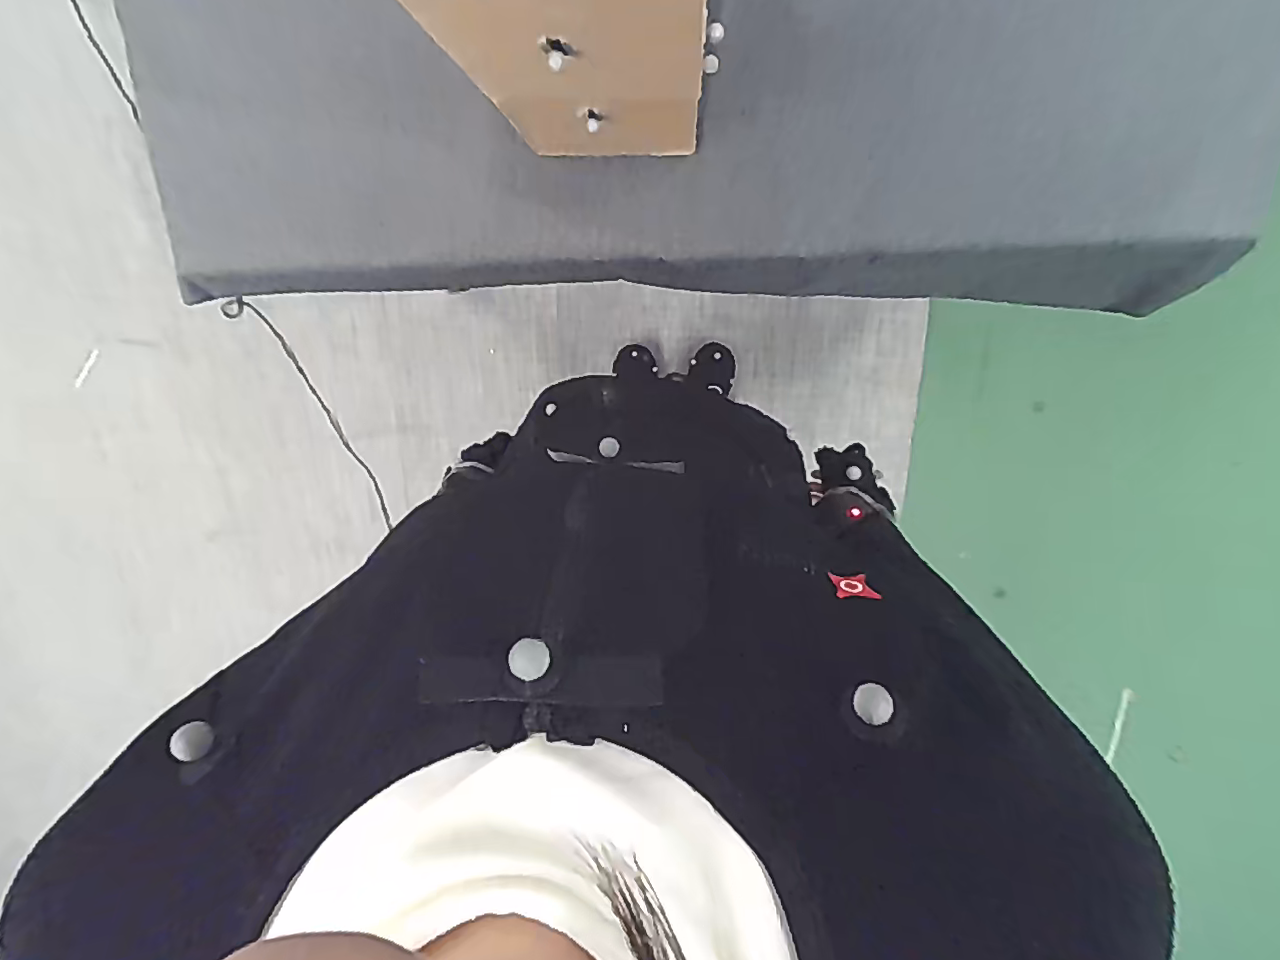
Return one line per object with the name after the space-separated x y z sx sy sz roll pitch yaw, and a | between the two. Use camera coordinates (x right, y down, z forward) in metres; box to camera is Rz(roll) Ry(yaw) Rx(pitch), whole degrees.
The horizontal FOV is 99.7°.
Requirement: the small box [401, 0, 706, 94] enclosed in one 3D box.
-0.044 -0.365 0.335 0.179 0.176 0.168 3 107 7 | small box

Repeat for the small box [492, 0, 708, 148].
-0.028 -0.417 0.491 0.179 0.176 0.168 1 107 5 | small box
